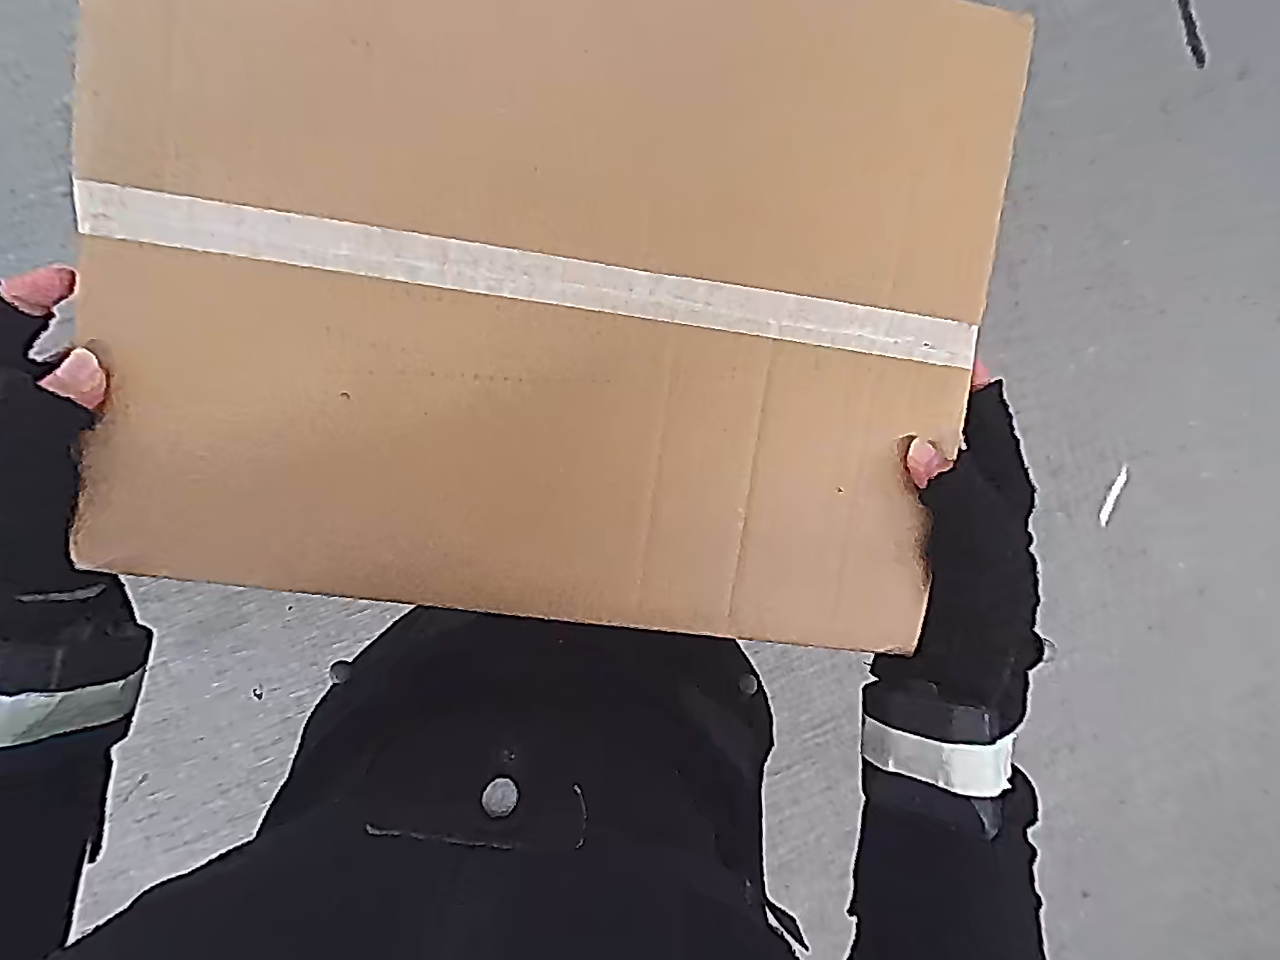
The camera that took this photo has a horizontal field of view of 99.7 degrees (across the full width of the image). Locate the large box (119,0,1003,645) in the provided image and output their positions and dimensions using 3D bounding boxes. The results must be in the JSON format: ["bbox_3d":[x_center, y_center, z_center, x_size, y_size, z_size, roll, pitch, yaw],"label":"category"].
[{"bbox_3d":[-0.046,-0.095,0.408,0.408,0.320,0.320,7,96,-5],"label":"large box"}]
